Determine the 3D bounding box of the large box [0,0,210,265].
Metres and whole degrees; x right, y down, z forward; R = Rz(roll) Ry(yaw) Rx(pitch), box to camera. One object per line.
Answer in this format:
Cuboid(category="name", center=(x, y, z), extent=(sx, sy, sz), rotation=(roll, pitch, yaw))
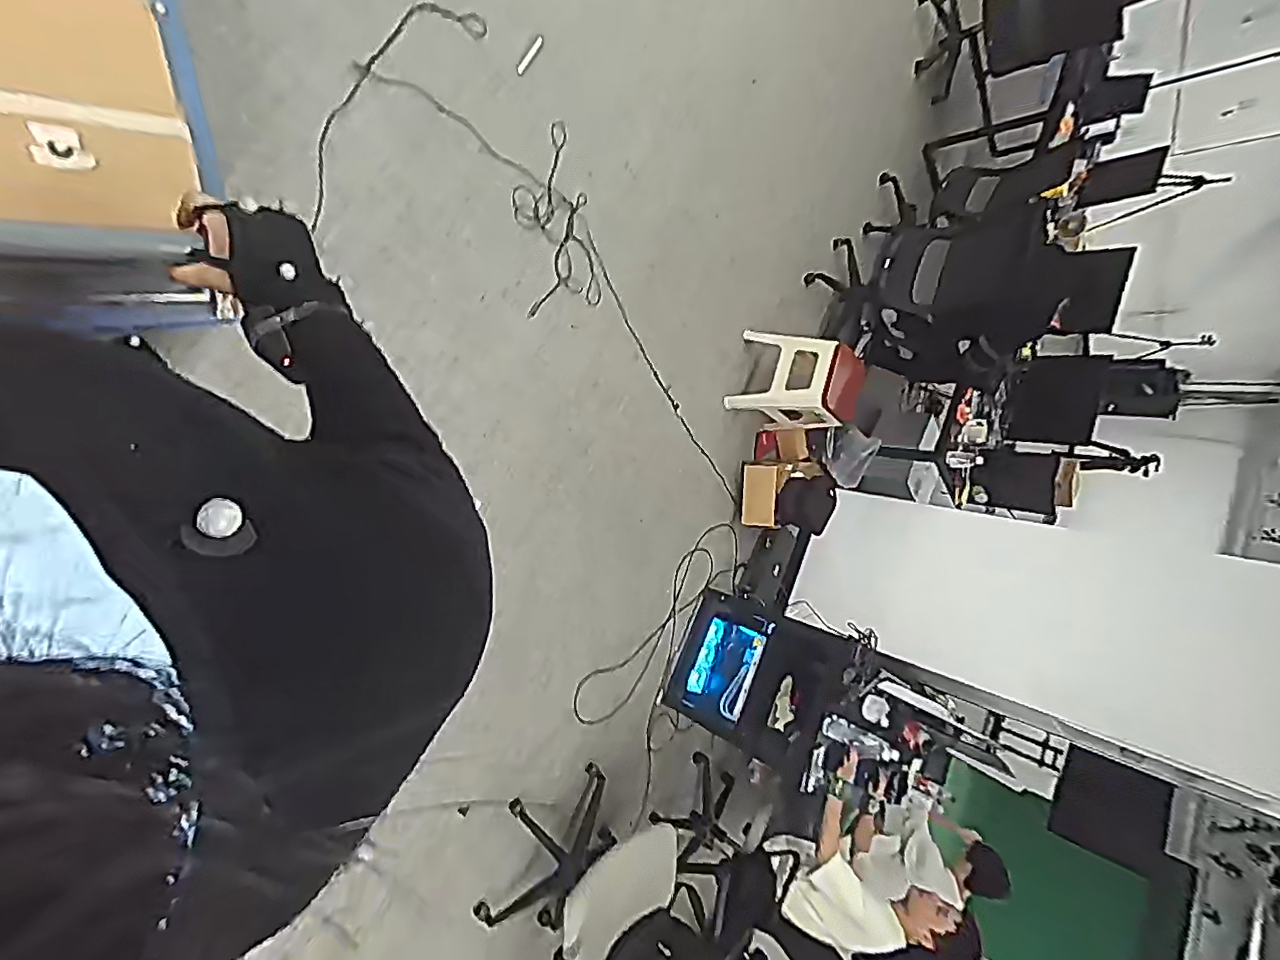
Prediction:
Cuboid(category="large box", center=(-0.893, -0.474, 0.729), extent=(0.408, 0.320, 0.320), rotation=(-19, 113, -43))
